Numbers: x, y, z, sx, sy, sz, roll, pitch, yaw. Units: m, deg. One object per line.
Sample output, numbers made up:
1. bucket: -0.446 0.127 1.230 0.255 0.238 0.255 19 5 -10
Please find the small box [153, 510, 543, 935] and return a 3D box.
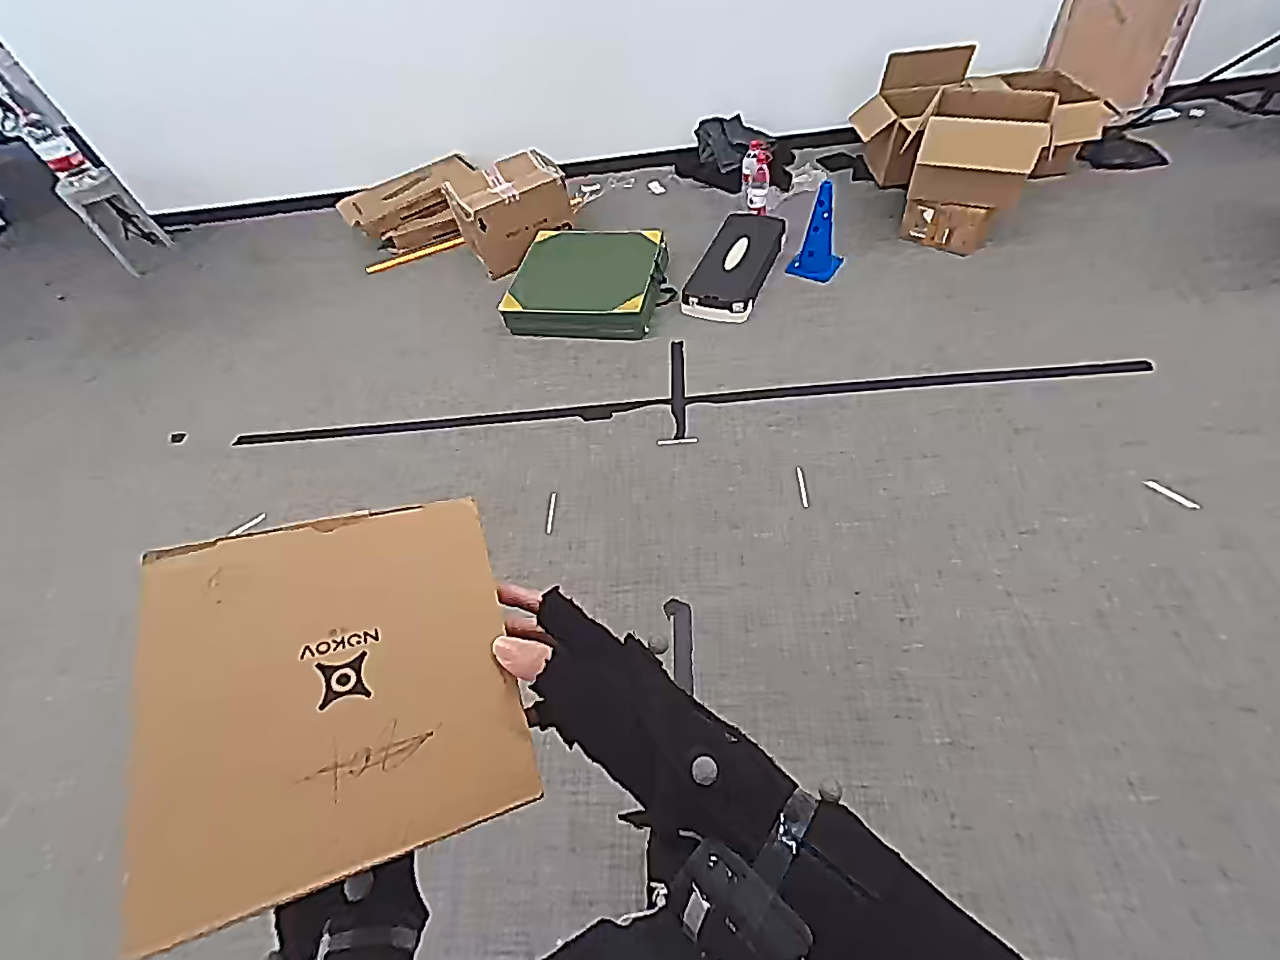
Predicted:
1. small box: -0.174 0.144 0.352 0.168 0.176 0.179 -10 64 -24
